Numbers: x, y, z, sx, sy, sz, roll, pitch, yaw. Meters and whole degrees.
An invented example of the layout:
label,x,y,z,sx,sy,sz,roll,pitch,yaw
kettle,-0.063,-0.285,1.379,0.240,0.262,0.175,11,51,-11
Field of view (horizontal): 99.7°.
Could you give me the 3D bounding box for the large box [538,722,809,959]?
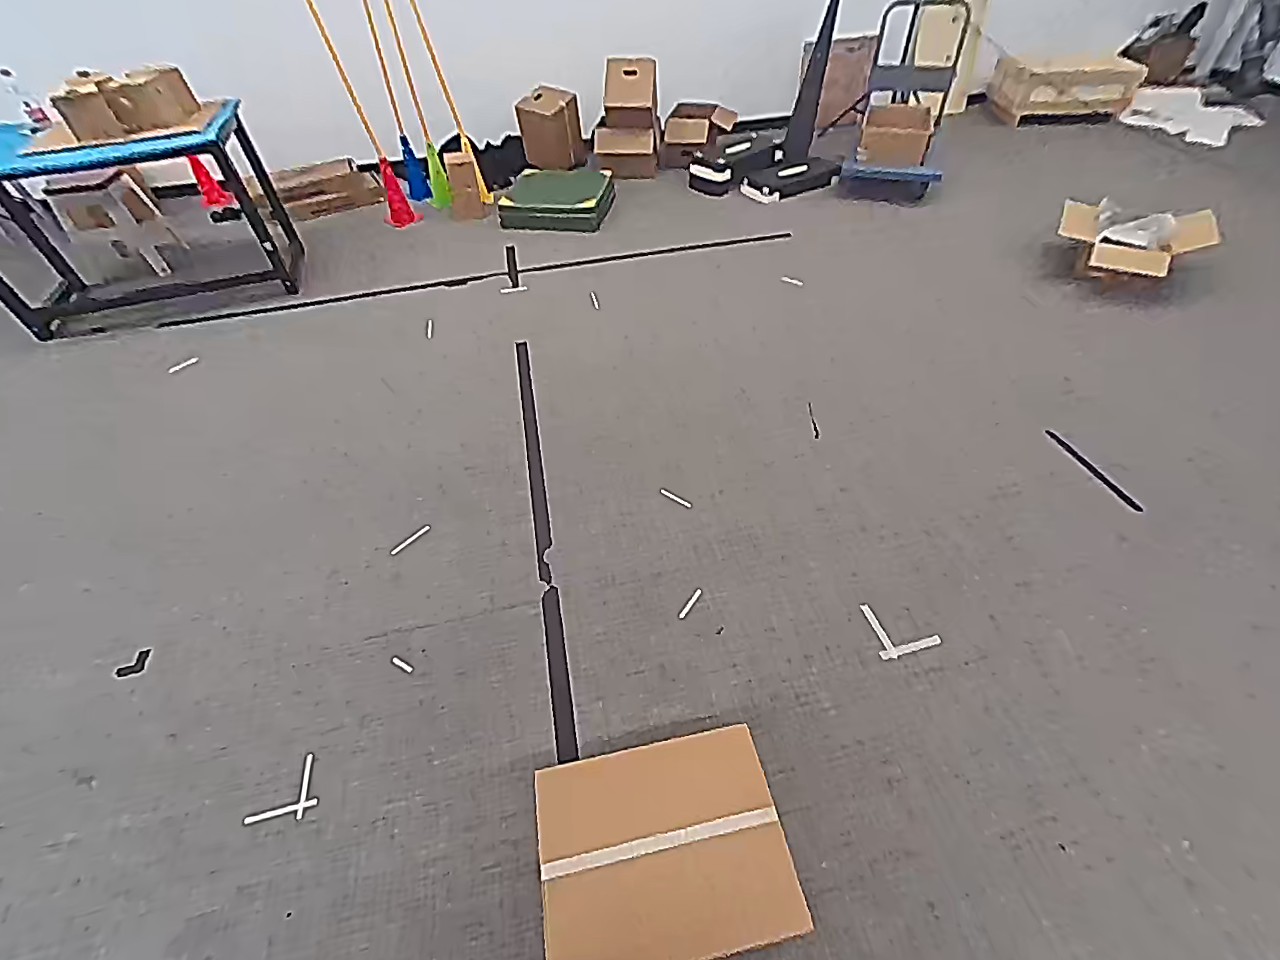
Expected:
label,x,y,z,sx,sy,sz,roll,pitch,yaw
large box,0.043,0.706,1.013,0.408,0.320,0.320,-10,48,-6
